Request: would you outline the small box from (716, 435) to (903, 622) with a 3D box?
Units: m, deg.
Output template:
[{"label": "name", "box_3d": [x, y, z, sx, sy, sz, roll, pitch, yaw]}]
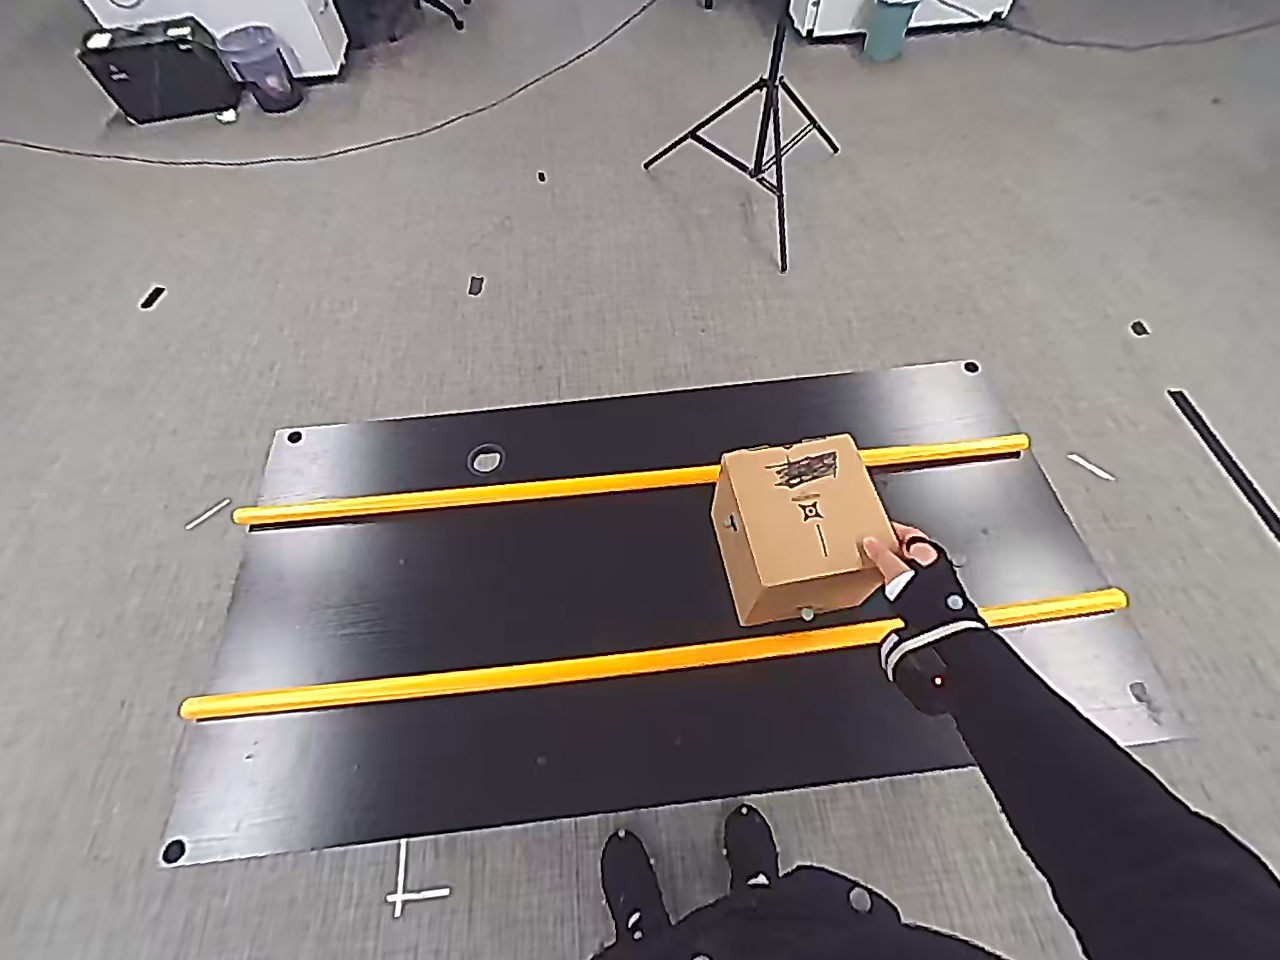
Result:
[{"label": "small box", "box_3d": [0.200, 0.068, 0.703, 0.168, 0.176, 0.179, -9, 61, -3]}]
